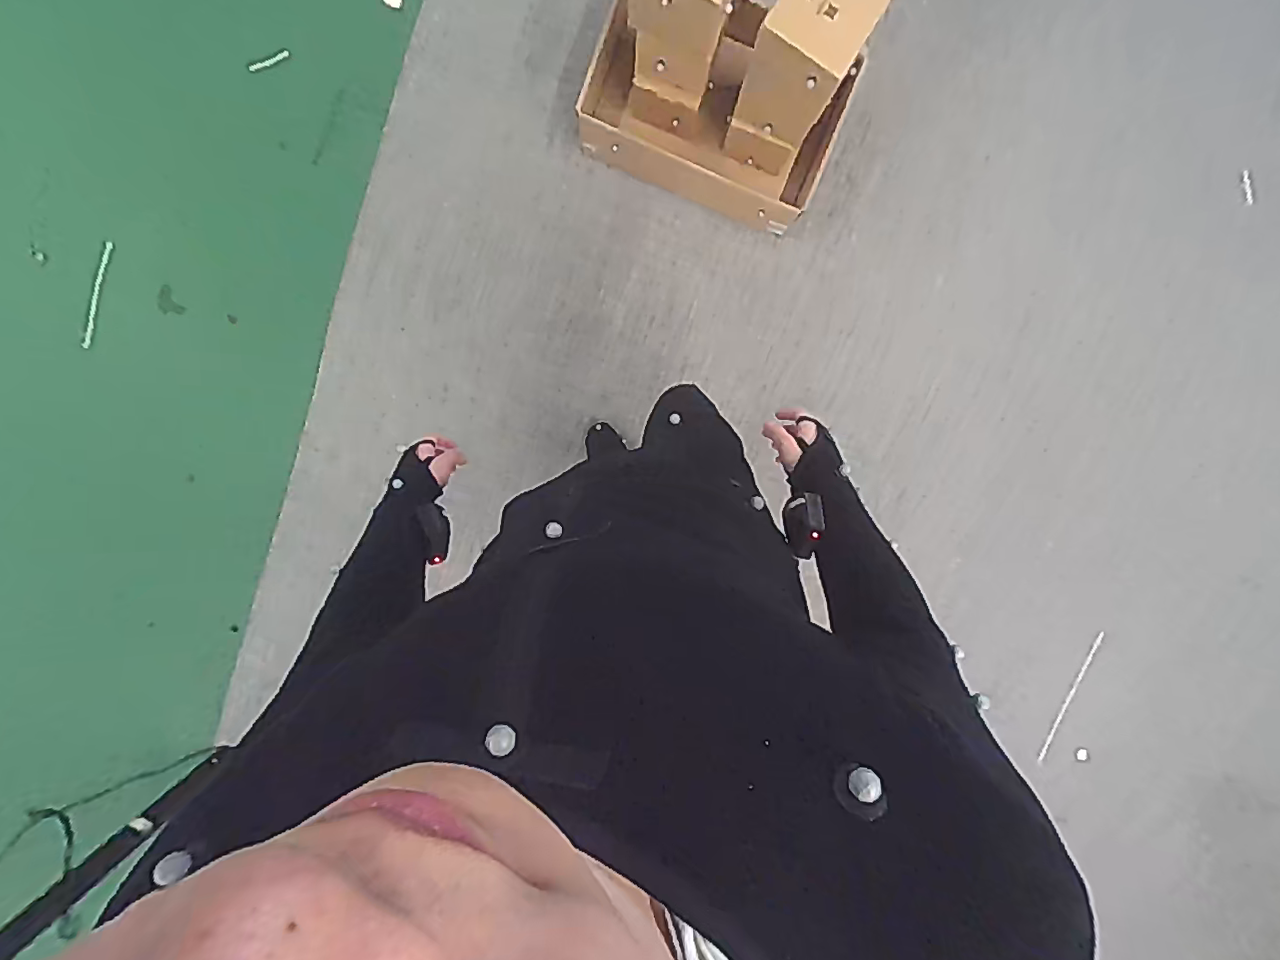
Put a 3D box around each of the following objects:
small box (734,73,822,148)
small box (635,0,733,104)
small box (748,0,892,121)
[{"bbox_3d":[0.329,-0.874,1.195,0.179,0.176,0.168,24,98,-3],"label":"small box"},{"bbox_3d":[0.095,-0.977,1.187,0.168,0.176,0.179,19,98,-5],"label":"small box"},{"bbox_3d":[0.331,-0.833,1.034,0.179,0.176,0.168,32,98,-3],"label":"small box"}]
